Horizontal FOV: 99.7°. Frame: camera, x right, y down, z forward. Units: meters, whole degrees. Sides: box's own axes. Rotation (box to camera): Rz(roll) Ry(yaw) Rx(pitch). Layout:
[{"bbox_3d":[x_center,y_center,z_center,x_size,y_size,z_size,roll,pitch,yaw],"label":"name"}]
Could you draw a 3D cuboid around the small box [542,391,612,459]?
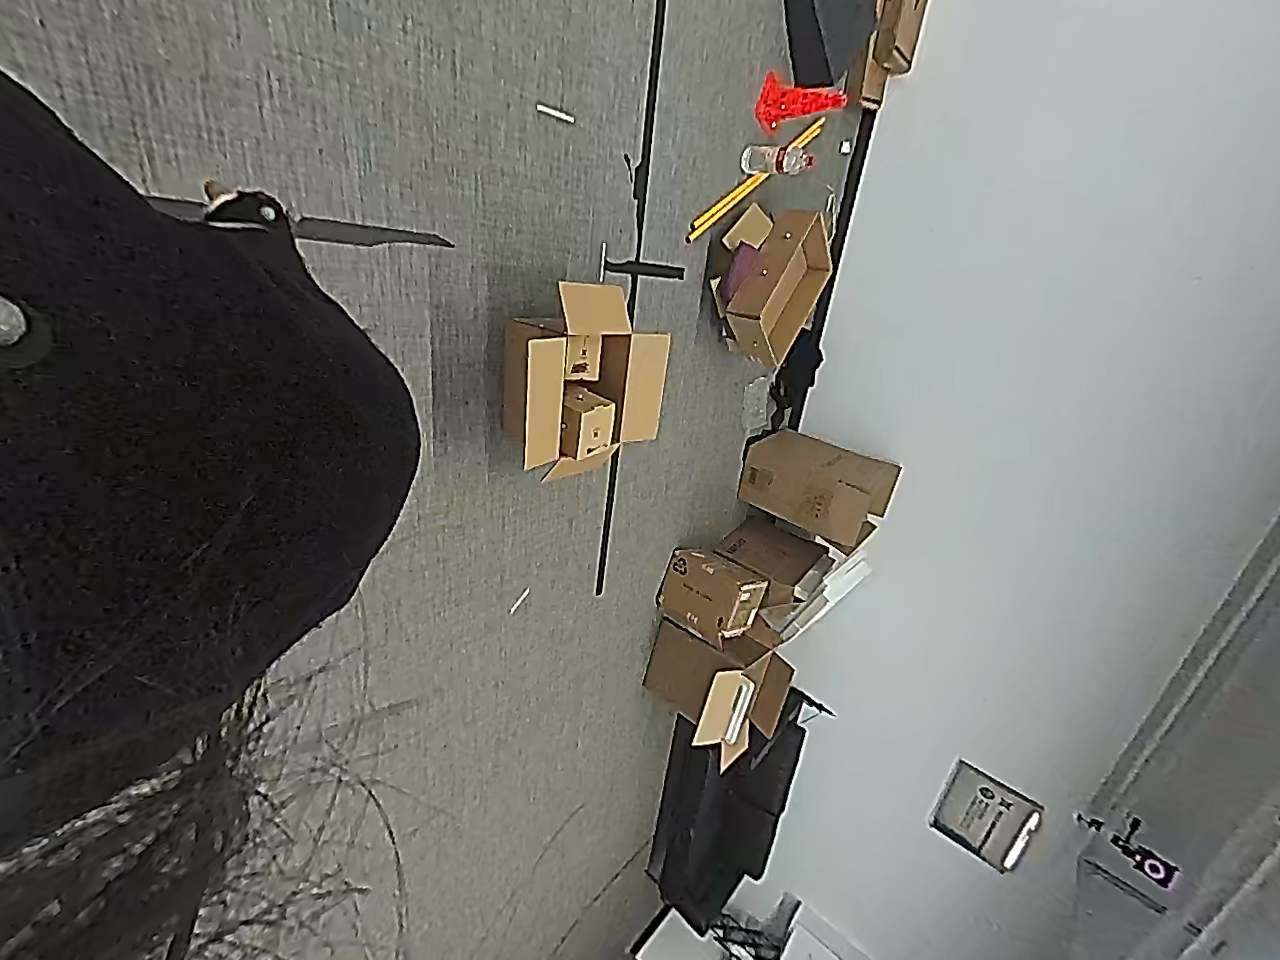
[{"bbox_3d":[-0.217,-0.194,1.845,0.168,0.176,0.179,-24,132,-47],"label":"small box"}]
